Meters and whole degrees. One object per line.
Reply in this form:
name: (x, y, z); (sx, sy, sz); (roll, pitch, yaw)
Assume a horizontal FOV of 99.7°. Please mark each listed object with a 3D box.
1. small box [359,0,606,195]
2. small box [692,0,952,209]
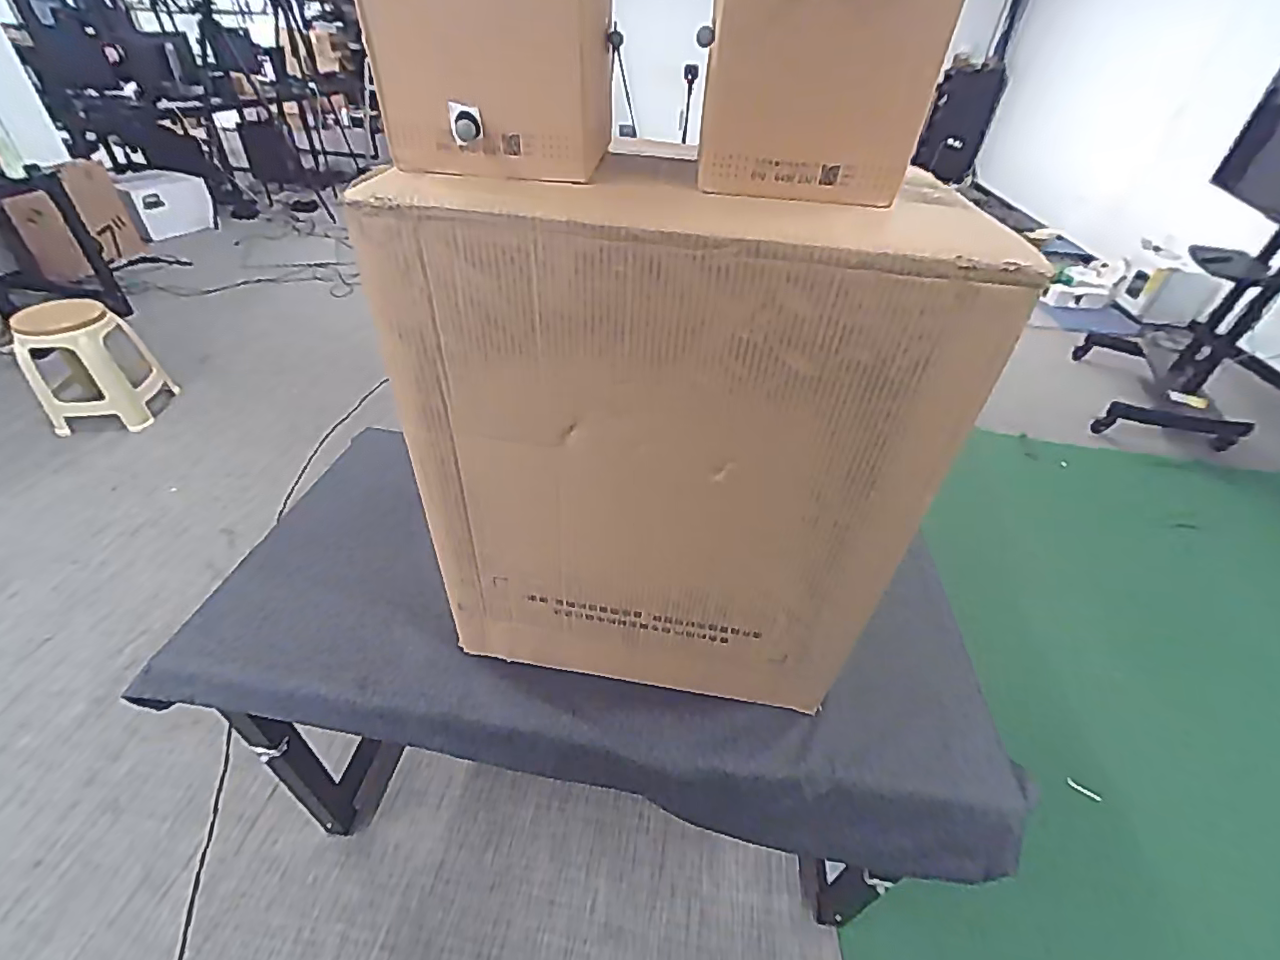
small box: (-0.120, -0.363, 0.466); (0.168, 0.176, 0.179); (3, 43, 3)
small box: (0.134, -0.350, 0.463); (0.168, 0.176, 0.179); (4, 42, 1)
